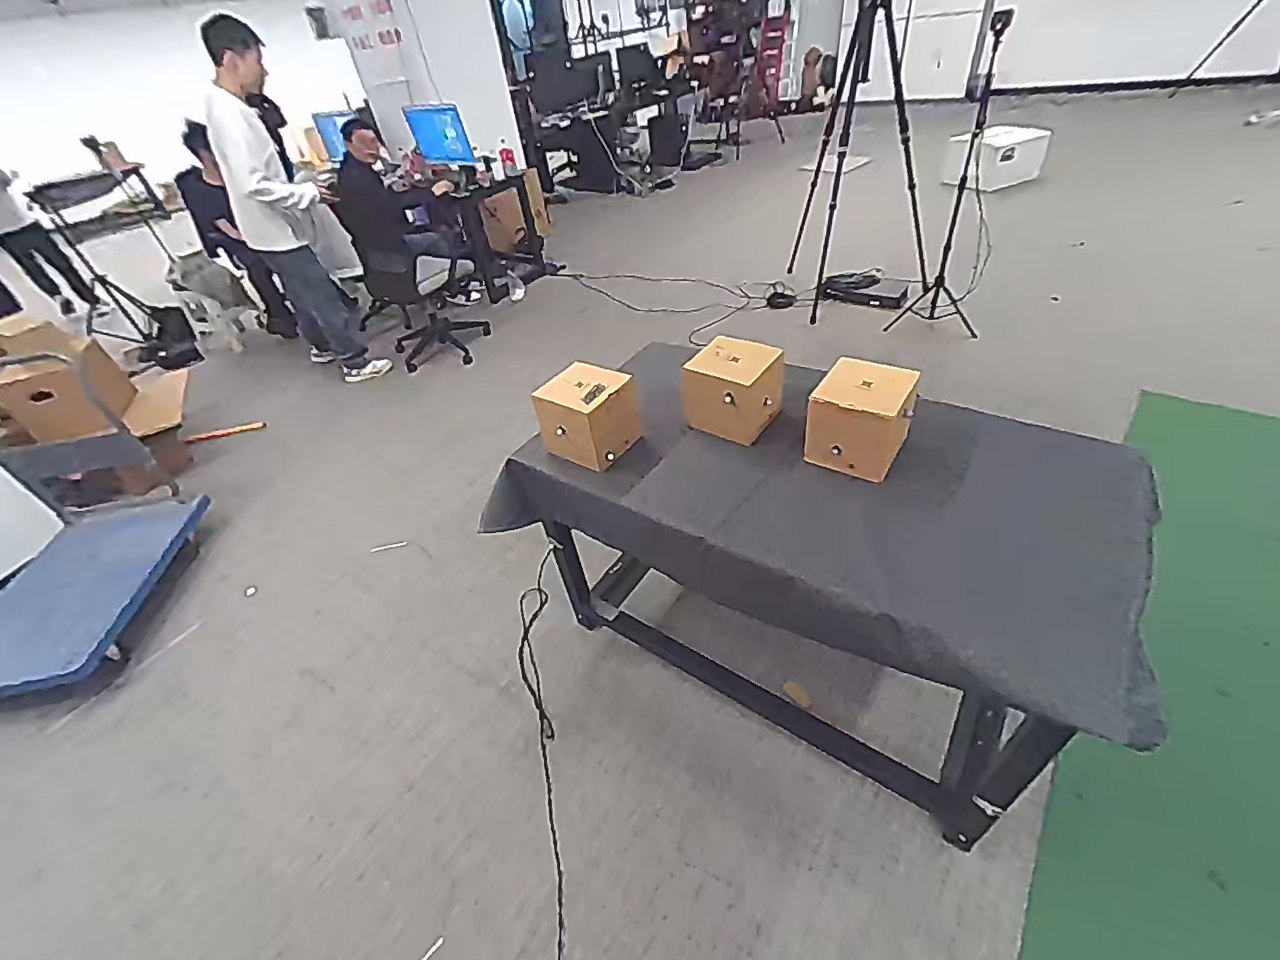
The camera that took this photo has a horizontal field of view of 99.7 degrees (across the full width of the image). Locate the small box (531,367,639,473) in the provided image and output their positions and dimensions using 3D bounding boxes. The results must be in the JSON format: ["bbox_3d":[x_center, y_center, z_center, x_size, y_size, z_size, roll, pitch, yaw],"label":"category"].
[{"bbox_3d":[-0.121,-0.139,1.269,0.179,0.176,0.168,21,48,31],"label":"small box"}]

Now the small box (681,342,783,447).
[{"bbox_3d":[0.219,-0.199,1.274,0.179,0.176,0.168,23,51,32],"label":"small box"}]

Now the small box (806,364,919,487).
[{"bbox_3d":[0.461,-0.116,1.139,0.168,0.176,0.179,21,50,30],"label":"small box"}]
